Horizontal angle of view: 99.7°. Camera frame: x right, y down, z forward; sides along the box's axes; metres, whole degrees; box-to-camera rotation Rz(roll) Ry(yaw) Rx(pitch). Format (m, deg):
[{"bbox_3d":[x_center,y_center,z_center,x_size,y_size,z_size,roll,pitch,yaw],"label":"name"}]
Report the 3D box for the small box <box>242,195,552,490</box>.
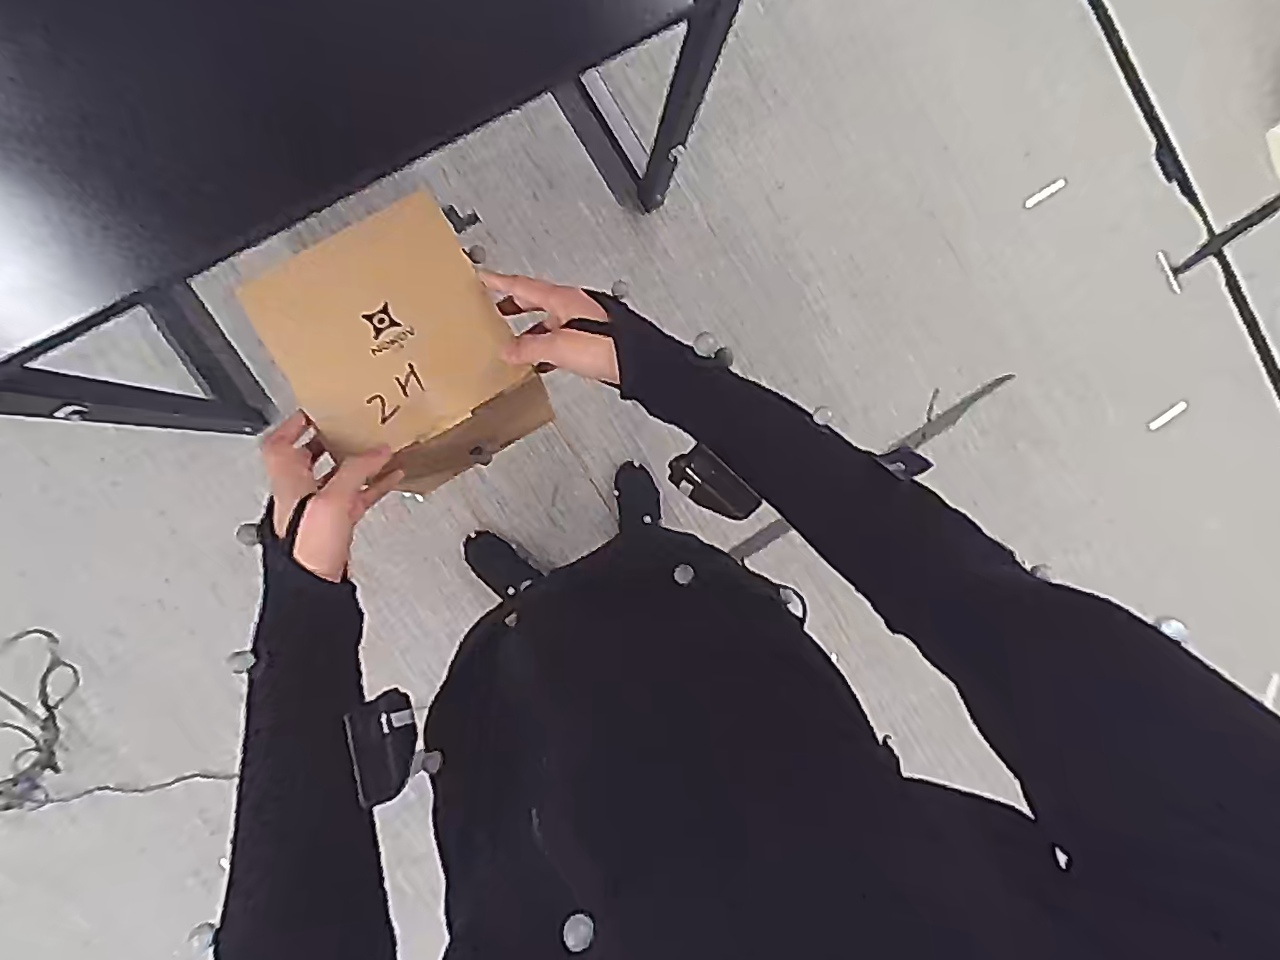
[{"bbox_3d":[-0.196,-0.105,0.492,0.168,0.176,0.179,-31,88,-5],"label":"small box"}]
